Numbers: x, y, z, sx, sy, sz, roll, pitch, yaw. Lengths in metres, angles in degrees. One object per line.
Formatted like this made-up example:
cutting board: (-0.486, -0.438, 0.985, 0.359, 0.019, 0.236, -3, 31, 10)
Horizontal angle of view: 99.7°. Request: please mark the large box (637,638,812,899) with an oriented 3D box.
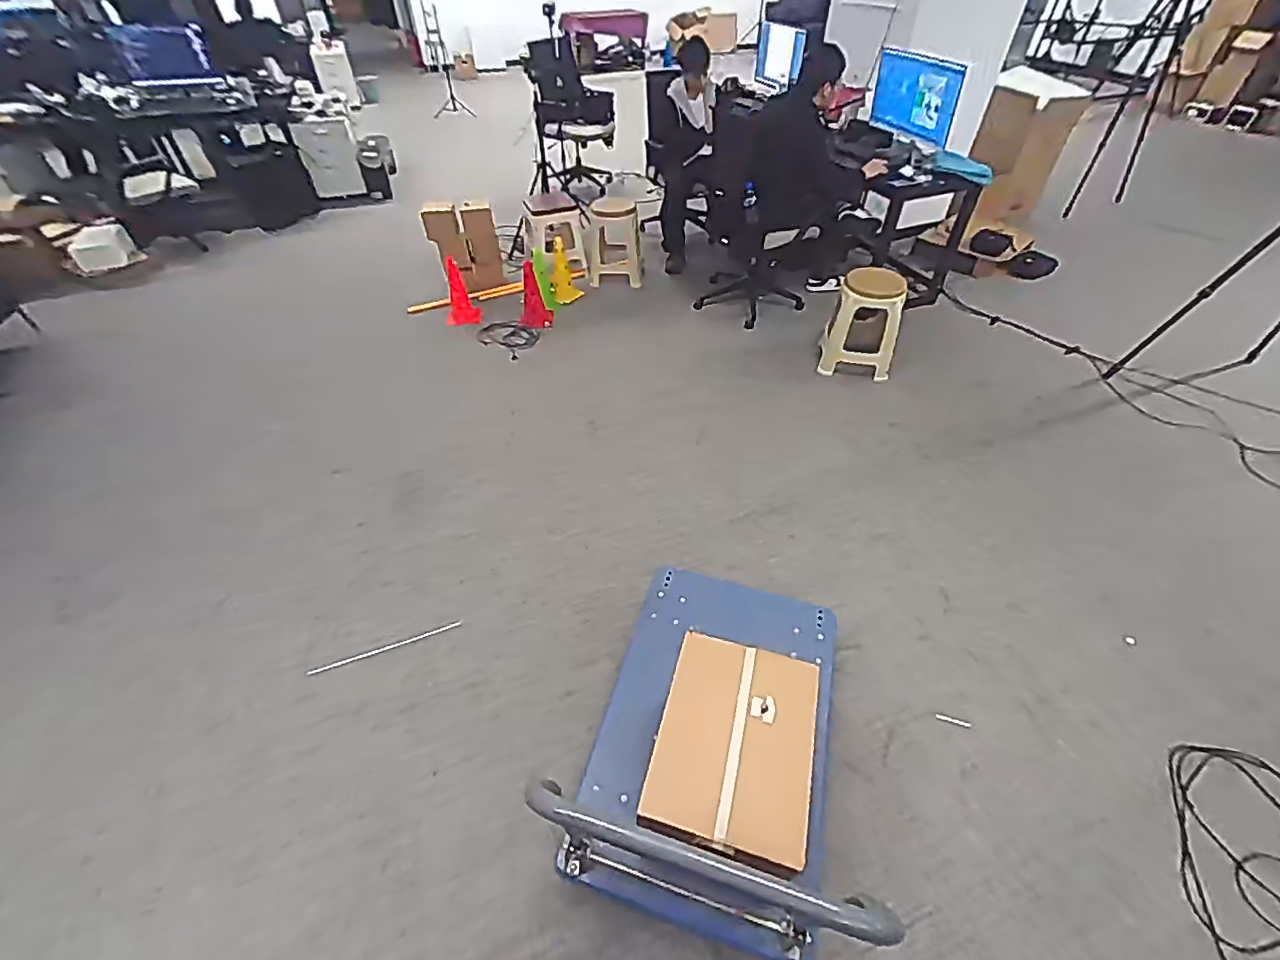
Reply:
large box: (0.194, 0.649, 1.237, 0.320, 0.320, 0.408, 13, 45, 12)
